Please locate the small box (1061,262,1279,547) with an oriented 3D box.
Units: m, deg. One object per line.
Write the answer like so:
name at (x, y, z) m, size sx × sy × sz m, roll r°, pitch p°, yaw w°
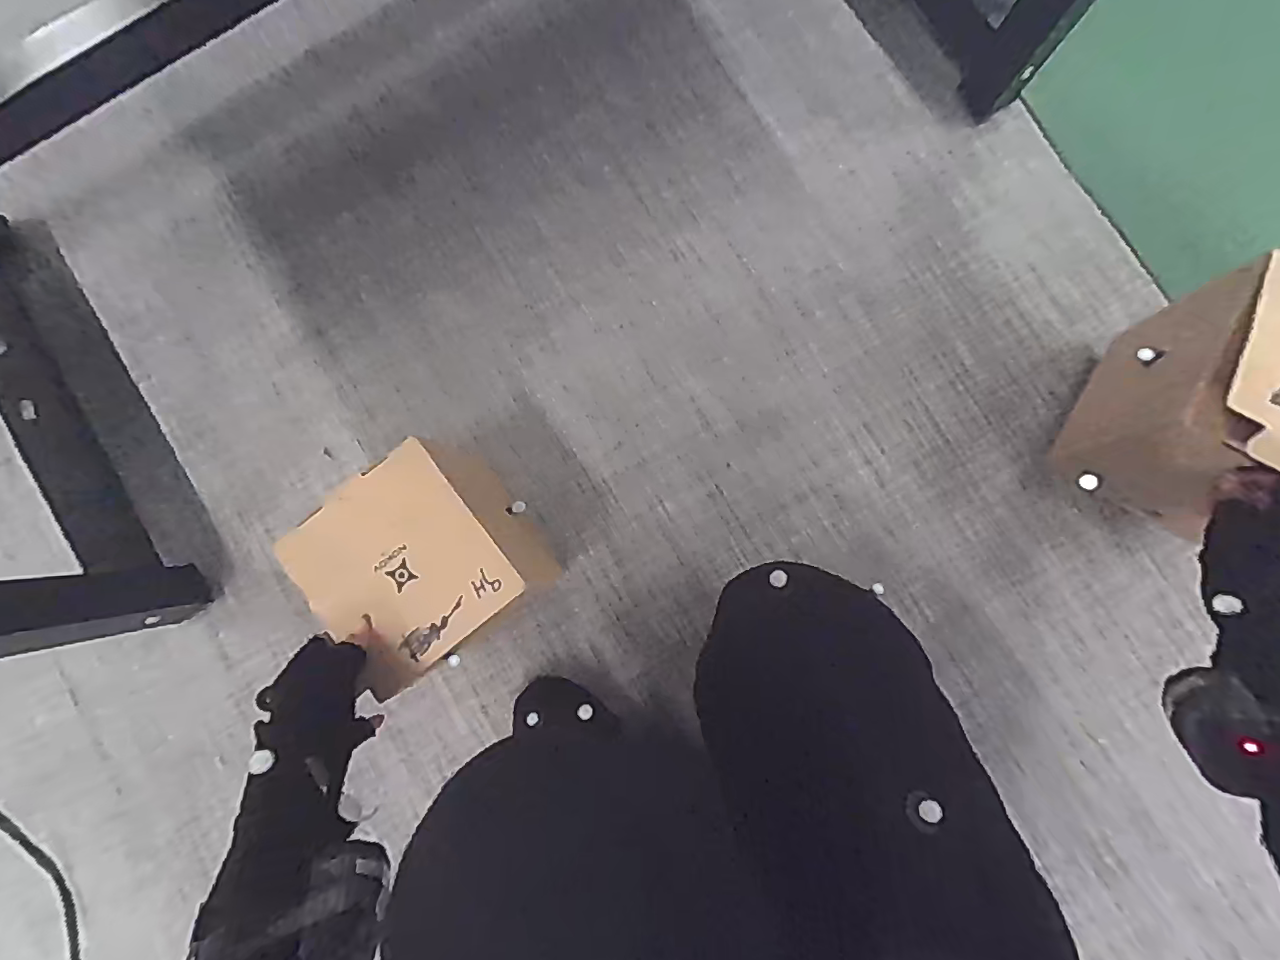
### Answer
small box at (0.545, -0.052, 0.498) m, size 0.168 × 0.176 × 0.179 m, roll 32°, pitch 83°, yaw 9°
